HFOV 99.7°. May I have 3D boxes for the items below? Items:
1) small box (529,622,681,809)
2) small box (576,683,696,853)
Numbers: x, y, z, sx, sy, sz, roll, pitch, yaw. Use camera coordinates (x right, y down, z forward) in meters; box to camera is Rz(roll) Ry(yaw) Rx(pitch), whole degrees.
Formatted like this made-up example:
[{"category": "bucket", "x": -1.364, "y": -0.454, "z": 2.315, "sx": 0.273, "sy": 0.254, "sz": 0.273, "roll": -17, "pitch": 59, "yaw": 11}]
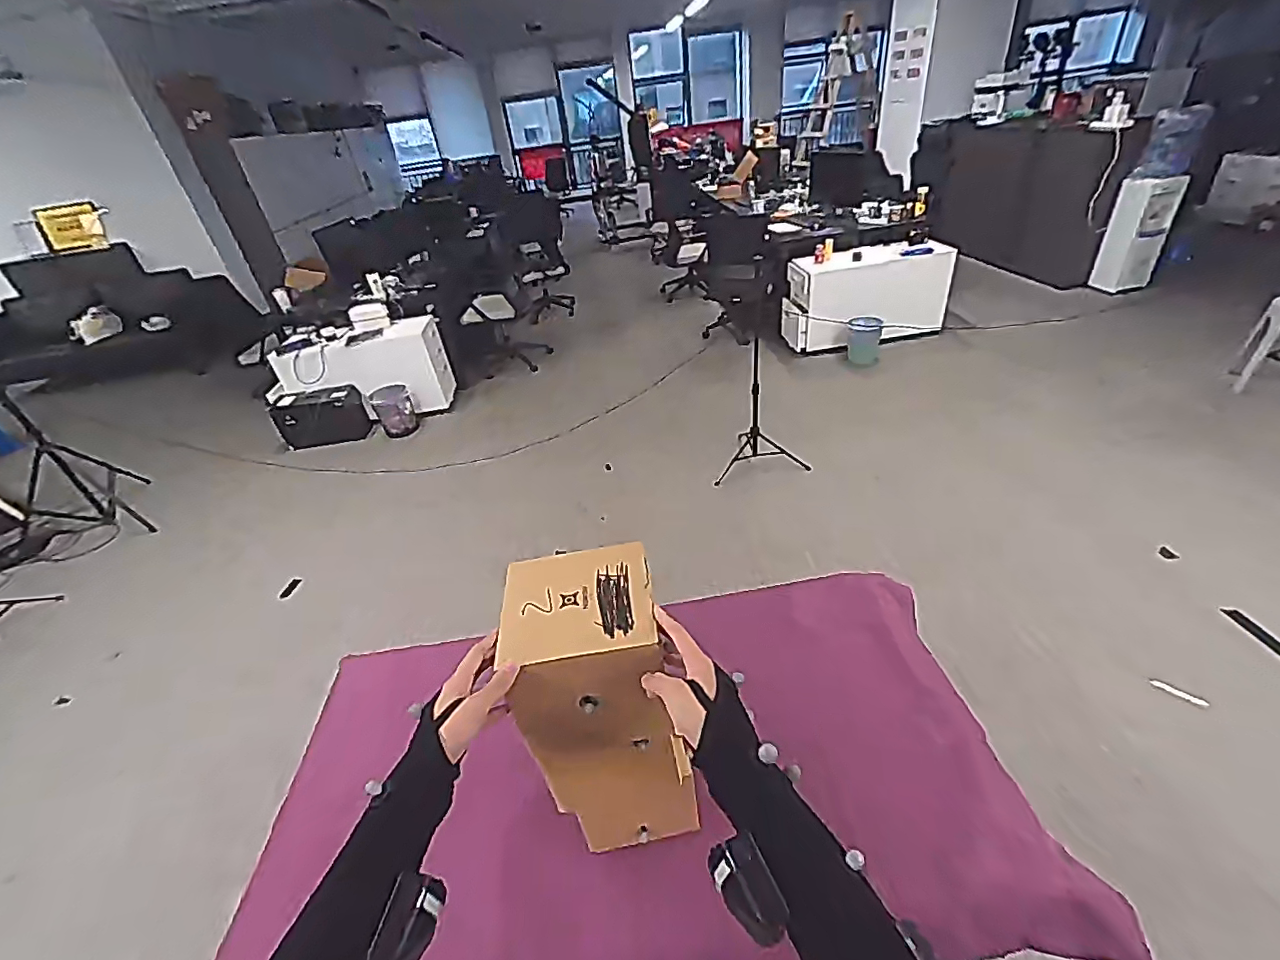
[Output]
[{"category": "small box", "x": -0.048, "y": 0.333, "z": 0.764, "sx": 0.179, "sy": 0.176, "sz": 0.168, "roll": -10, "pitch": 34, "yaw": -3}, {"category": "small box", "x": -0.010, "y": 0.458, "z": 0.864, "sx": 0.179, "sy": 0.176, "sz": 0.168, "roll": -10, "pitch": 33, "yaw": -3}]
